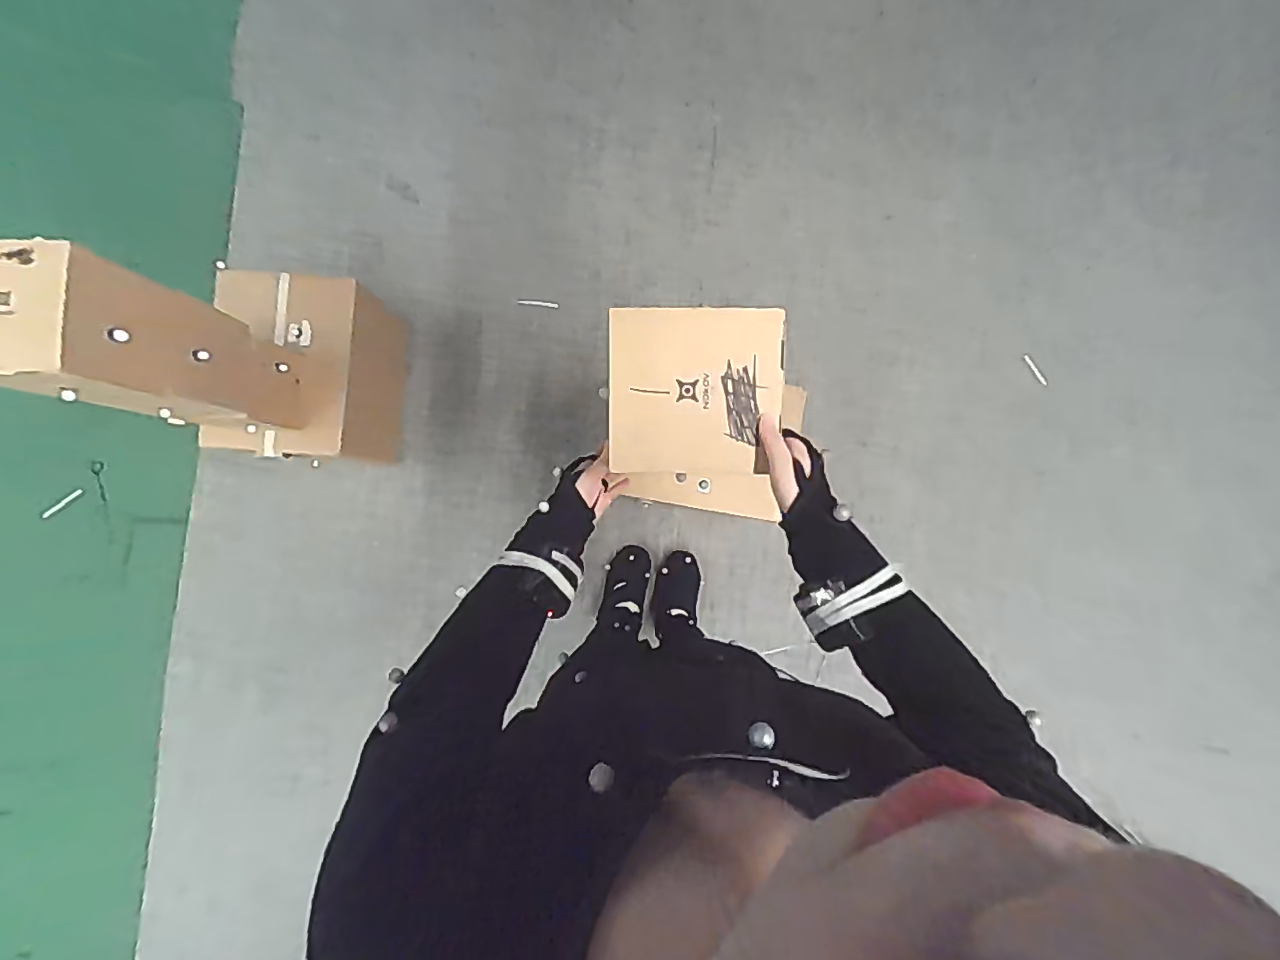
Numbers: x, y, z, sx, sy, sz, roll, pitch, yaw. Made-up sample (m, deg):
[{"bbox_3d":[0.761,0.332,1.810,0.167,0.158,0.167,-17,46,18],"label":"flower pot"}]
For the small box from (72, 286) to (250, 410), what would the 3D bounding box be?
[{"bbox_3d":[-0.811,-0.217,0.932,0.168,0.176,0.179,-1,86,-1],"label":"small box"}]

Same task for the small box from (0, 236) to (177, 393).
[{"bbox_3d":[-0.807,-0.223,0.767,0.168,0.176,0.179,1,88,-1],"label":"small box"}]

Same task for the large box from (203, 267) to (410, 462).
[{"bbox_3d":[-0.796,-0.260,1.342,0.320,0.320,0.408,4,87,-1],"label":"large box"}]

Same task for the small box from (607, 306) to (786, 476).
[{"bbox_3d":[0.054,-0.096,0.614,0.179,0.176,0.168,0,96,0],"label":"small box"}]

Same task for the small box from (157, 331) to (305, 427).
[{"bbox_3d":[-0.815,-0.202,1.095,0.179,0.176,0.168,3,87,0],"label":"small box"}]
